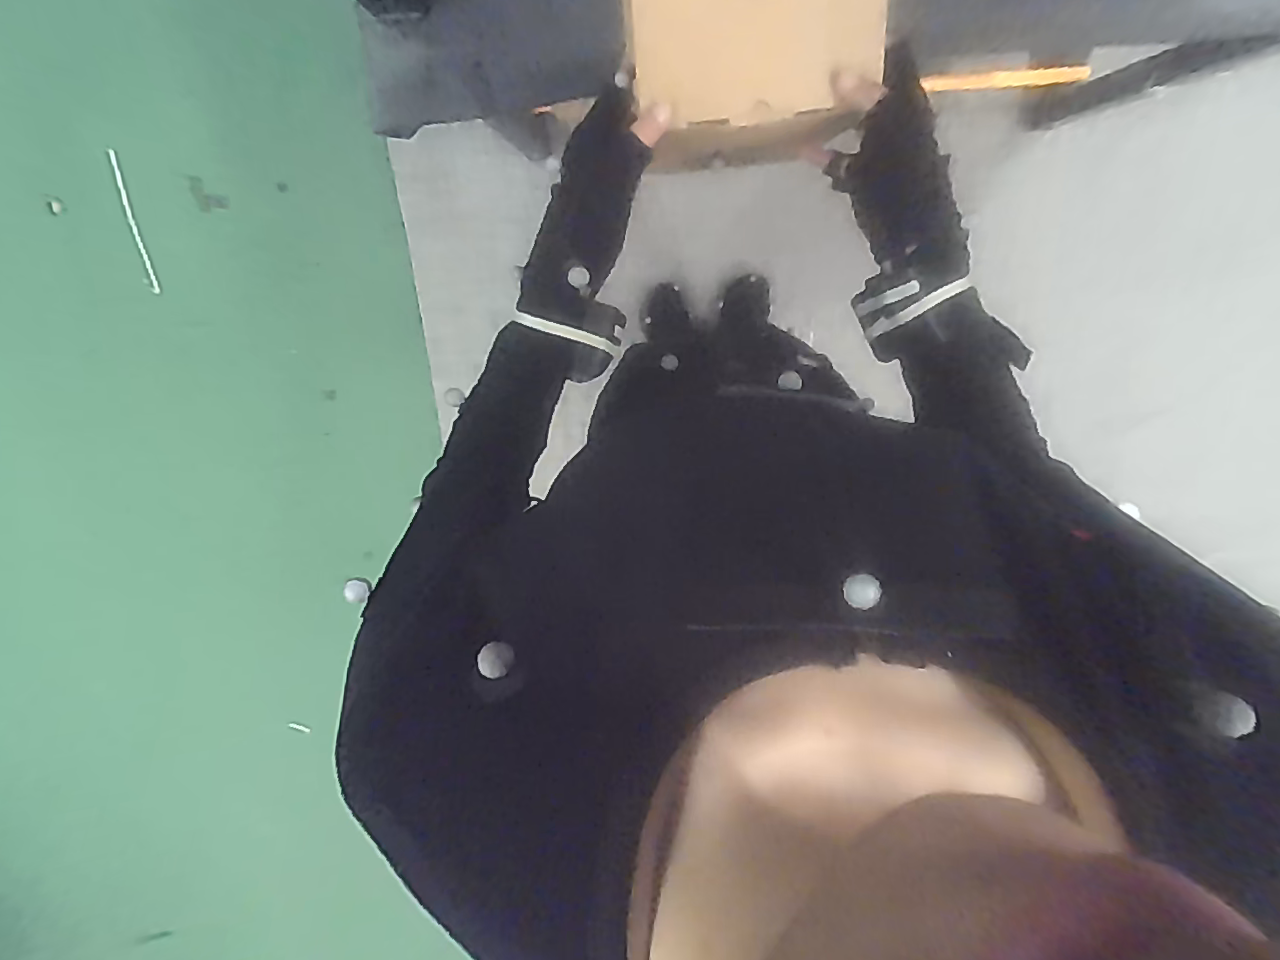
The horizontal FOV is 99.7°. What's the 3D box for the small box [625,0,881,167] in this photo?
[{"bbox_3d":[0.074,-0.368,0.424,0.168,0.176,0.179,-6,110,2],"label":"small box"}]
